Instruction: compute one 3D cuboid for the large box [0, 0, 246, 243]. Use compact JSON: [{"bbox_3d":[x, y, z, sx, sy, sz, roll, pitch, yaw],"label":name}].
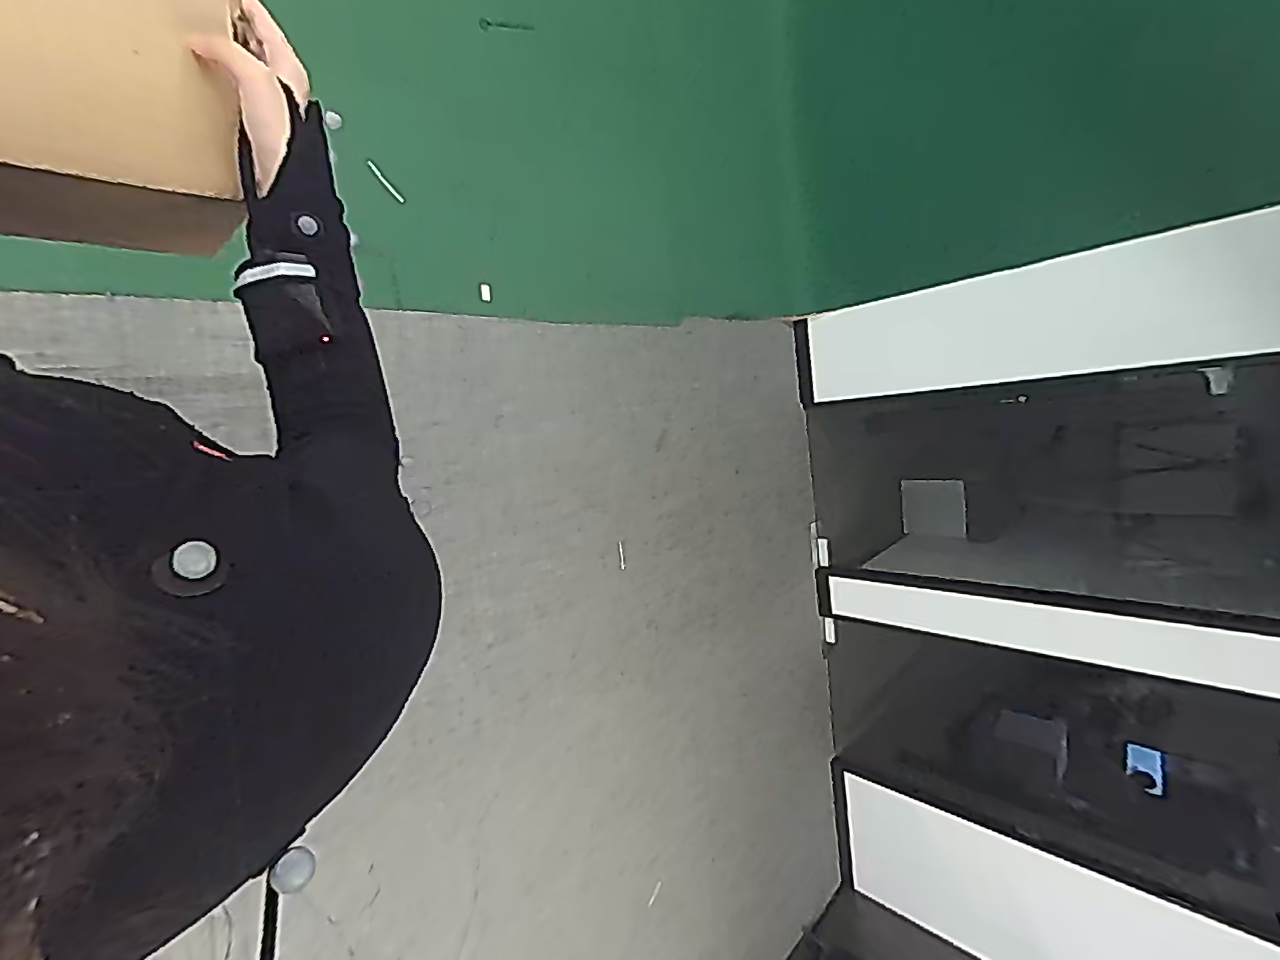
[{"bbox_3d":[-0.553,-0.364,0.369,0.408,0.320,0.320,-11,107,-40],"label":"large box"}]
